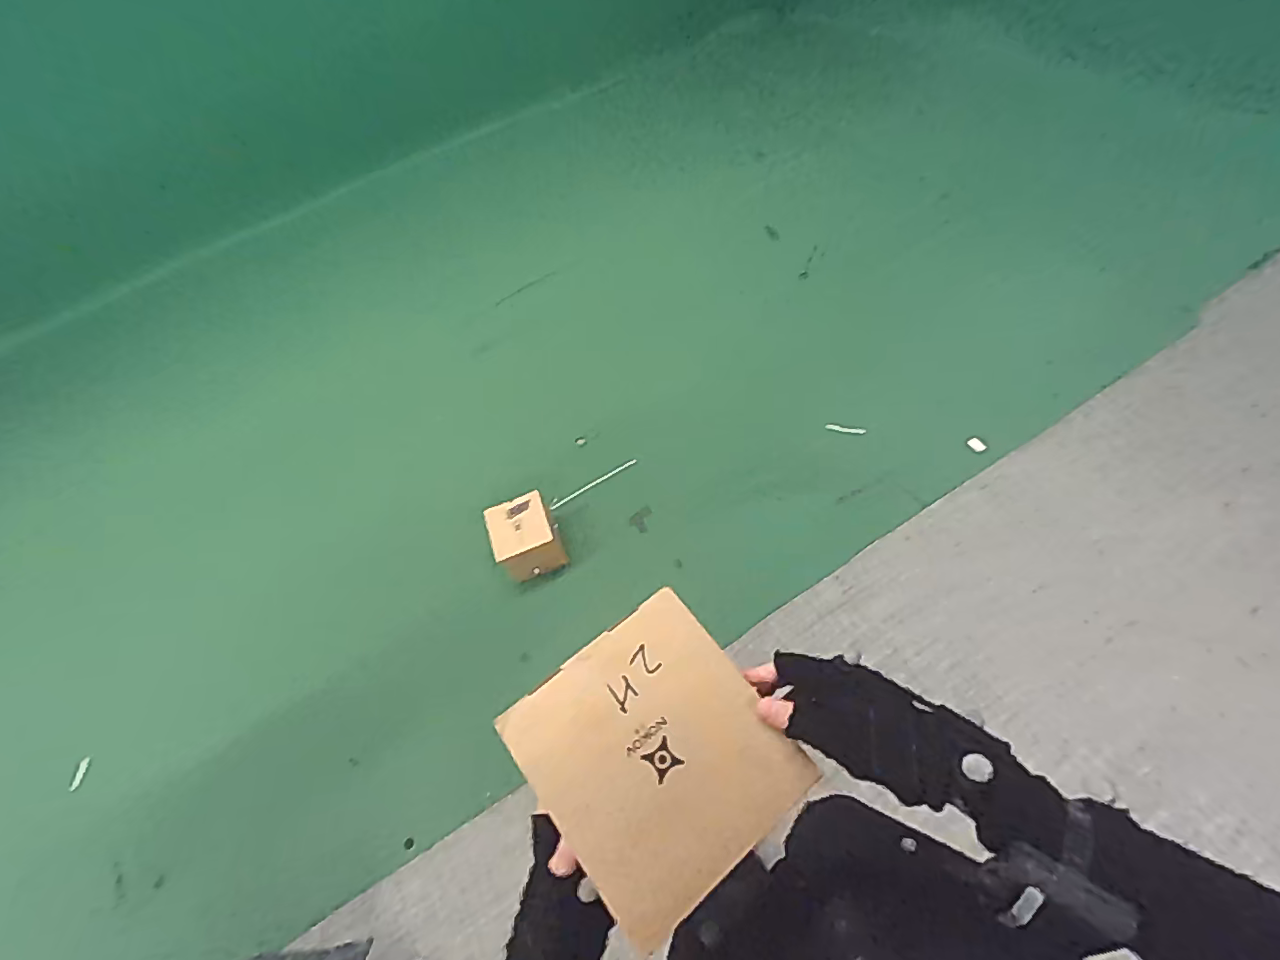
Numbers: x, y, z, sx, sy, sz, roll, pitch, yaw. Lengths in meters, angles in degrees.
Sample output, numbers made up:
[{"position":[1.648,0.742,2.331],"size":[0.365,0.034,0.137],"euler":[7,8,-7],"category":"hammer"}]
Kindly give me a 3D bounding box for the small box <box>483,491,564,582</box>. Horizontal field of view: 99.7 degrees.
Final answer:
[{"position":[-0.335,0.167,1.567],"size":[0.168,0.176,0.179],"euler":[-21,59,-4],"category":"small box"}]
